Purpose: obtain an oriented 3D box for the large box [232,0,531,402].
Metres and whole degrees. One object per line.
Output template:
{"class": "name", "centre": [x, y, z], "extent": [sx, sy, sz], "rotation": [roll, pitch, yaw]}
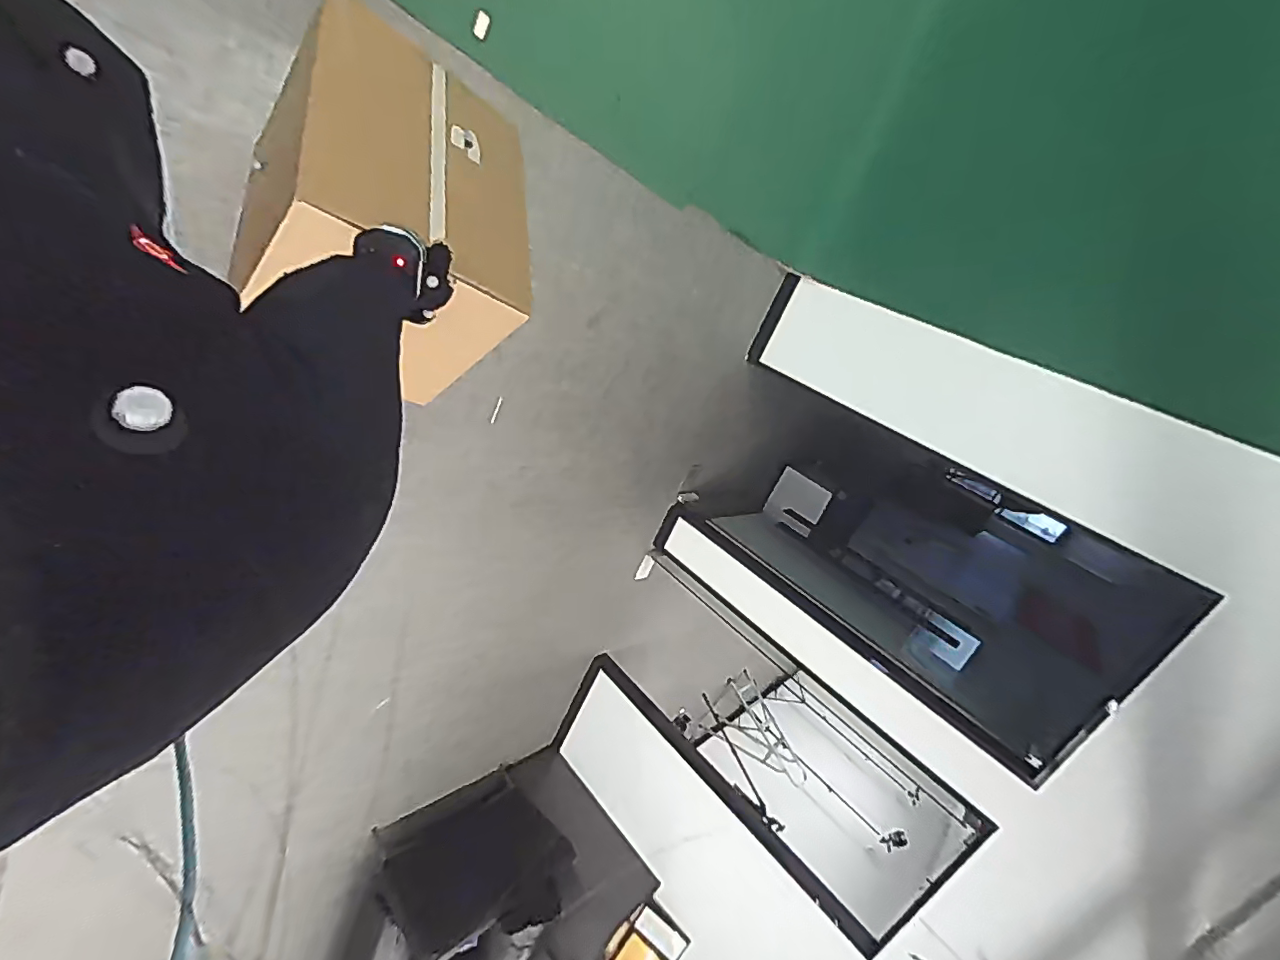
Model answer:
{"class": "large box", "centre": [-0.401, -0.393, 0.853], "extent": [0.320, 0.408, 0.320], "rotation": [-25, 153, 35]}
